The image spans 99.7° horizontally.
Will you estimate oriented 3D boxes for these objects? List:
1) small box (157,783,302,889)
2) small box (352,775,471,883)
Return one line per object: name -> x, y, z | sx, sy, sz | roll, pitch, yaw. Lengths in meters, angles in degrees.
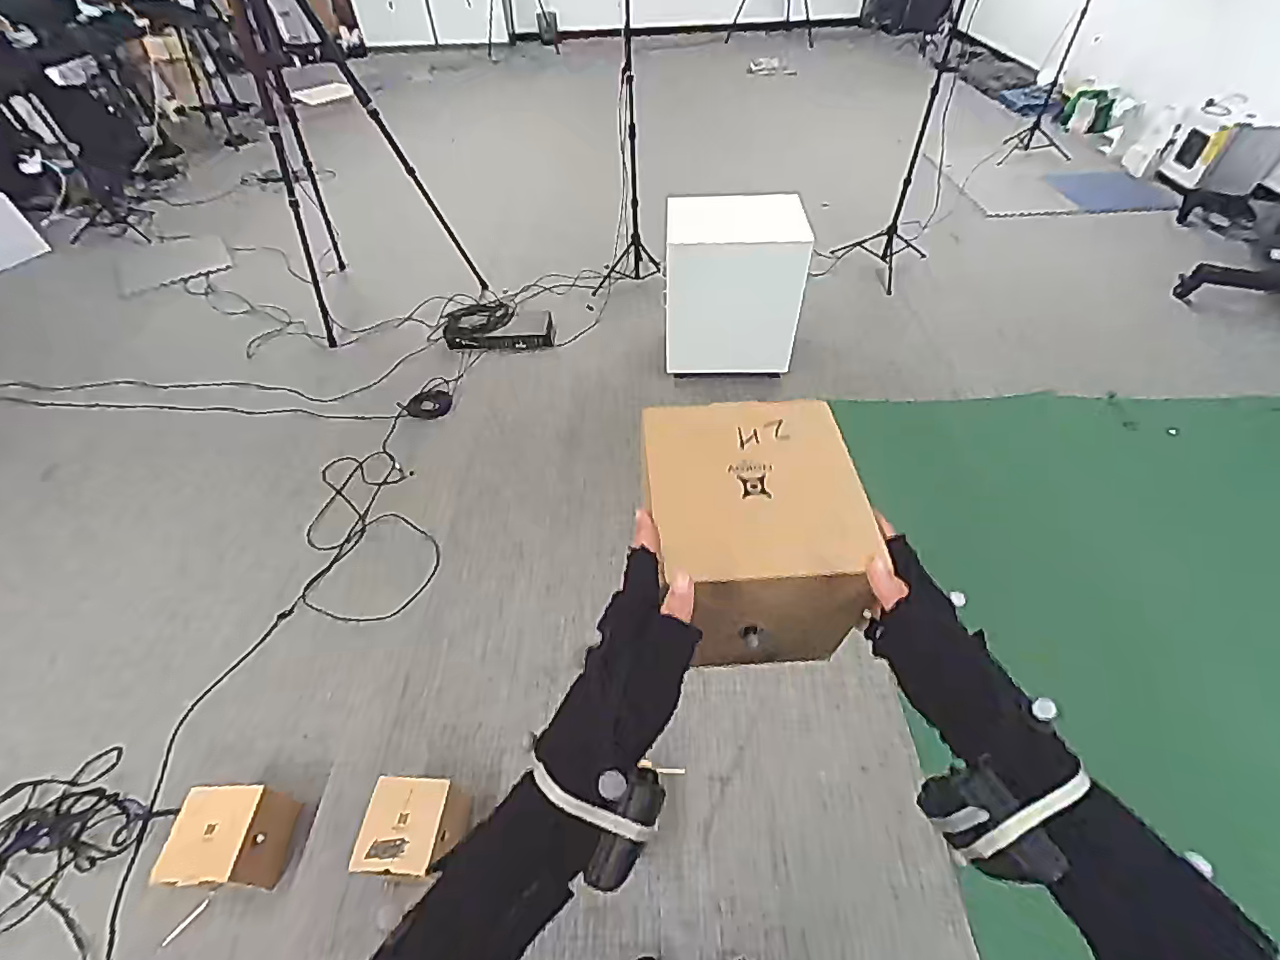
small box -> -0.894, 0.794, 1.203 | 0.168, 0.176, 0.179 | -3, 49, 1
small box -> -0.491, 0.774, 1.197 | 0.168, 0.176, 0.179 | 1, 48, 5
